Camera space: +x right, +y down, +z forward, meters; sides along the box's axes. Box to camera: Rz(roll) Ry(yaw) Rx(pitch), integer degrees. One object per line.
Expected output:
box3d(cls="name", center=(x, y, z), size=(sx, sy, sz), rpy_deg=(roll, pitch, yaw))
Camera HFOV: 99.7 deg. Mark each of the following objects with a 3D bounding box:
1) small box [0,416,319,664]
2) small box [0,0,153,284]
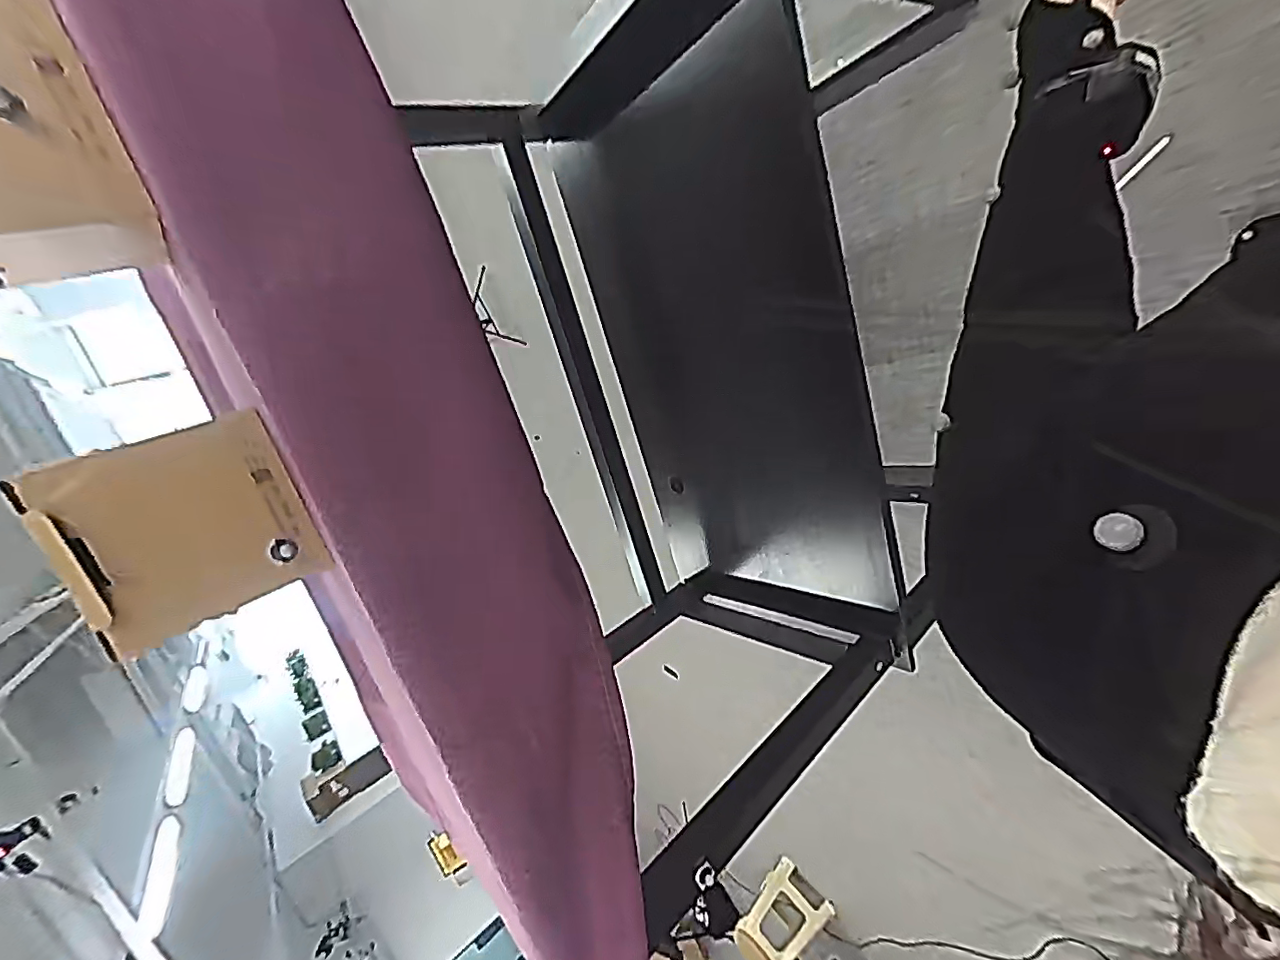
box3d(cls="small box", center=(-0.440, 0.046, 0.529), size=(0.179, 0.176, 0.168), rpy_deg=(-5, 109, 55))
box3d(cls="small box", center=(-0.529, -0.258, 0.429), size=(0.179, 0.176, 0.168), rpy_deg=(8, 120, 51))
